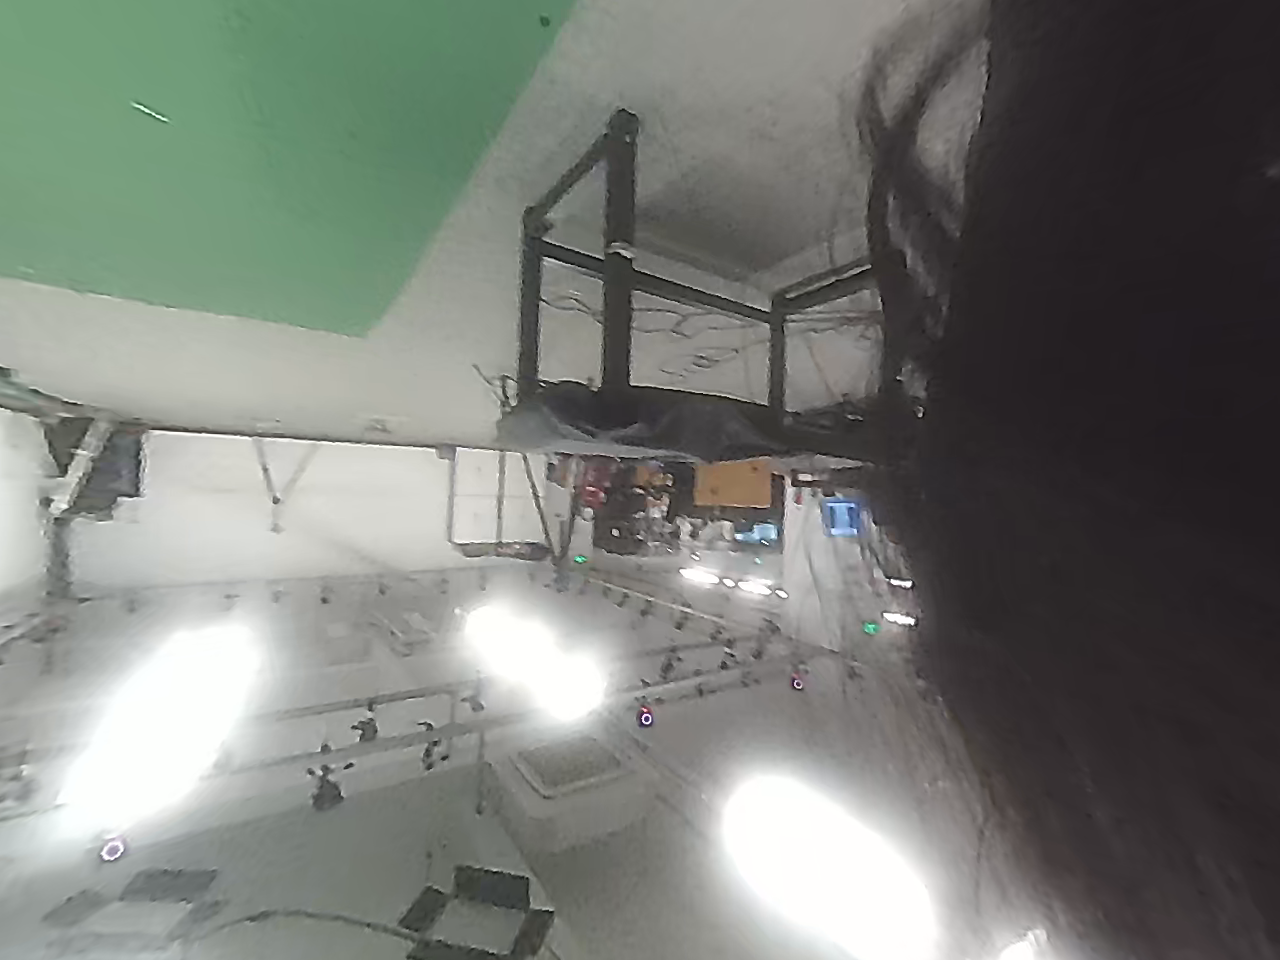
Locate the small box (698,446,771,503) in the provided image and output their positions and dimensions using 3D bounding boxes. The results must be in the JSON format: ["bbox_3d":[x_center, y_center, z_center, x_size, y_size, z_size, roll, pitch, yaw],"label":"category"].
[{"bbox_3d":[0.308,-0.017,1.745,0.168,0.176,0.179,3,178,-33],"label":"small box"}]
